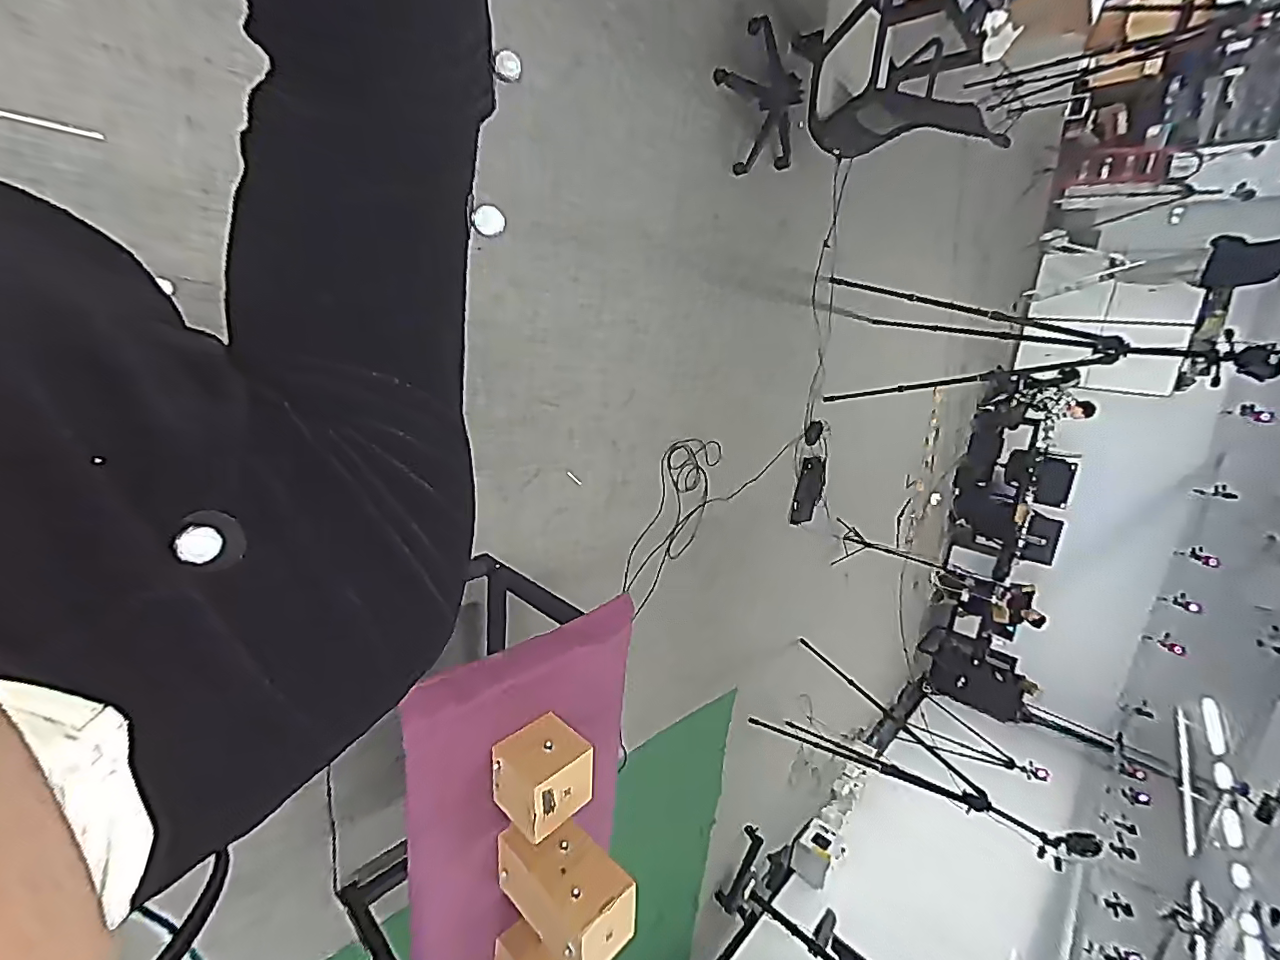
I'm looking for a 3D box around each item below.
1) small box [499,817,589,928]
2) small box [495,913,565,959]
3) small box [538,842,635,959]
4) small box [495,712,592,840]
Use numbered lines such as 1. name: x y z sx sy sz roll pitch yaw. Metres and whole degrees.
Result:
1. small box: -0.248 0.970 1.388 0.168 0.176 0.179 -15 115 -45
2. small box: -0.277 1.304 1.475 0.179 0.176 0.168 -7 108 -47
3. small box: -0.130 1.006 1.281 0.168 0.176 0.179 -15 114 -44
4. small box: -0.235 0.701 1.303 0.179 0.176 0.168 -15 115 -46
